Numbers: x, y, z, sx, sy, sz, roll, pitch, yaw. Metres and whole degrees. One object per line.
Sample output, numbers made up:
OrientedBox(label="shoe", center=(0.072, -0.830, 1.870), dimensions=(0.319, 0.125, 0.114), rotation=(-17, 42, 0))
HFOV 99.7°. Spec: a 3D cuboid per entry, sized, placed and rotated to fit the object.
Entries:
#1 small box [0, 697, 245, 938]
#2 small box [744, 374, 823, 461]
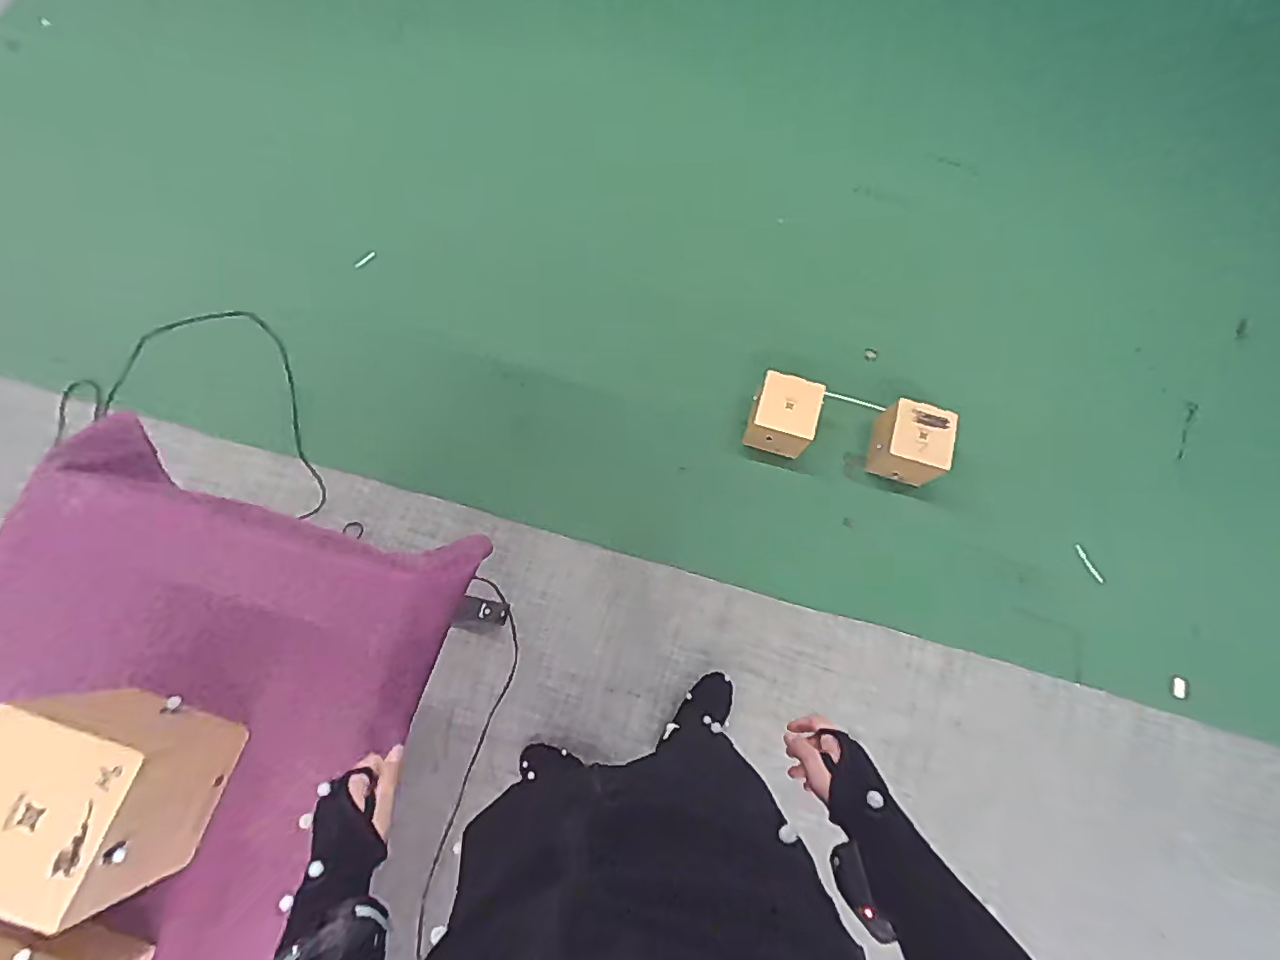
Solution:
OrientedBox(label="small box", center=(-0.616, 0.357, 0.614), dimensions=(0.179, 0.176, 0.168), rotation=(17, 74, 4))
OrientedBox(label="small box", center=(0.408, -0.173, 1.559), dimensions=(0.168, 0.176, 0.179), rotation=(16, 73, 4))
